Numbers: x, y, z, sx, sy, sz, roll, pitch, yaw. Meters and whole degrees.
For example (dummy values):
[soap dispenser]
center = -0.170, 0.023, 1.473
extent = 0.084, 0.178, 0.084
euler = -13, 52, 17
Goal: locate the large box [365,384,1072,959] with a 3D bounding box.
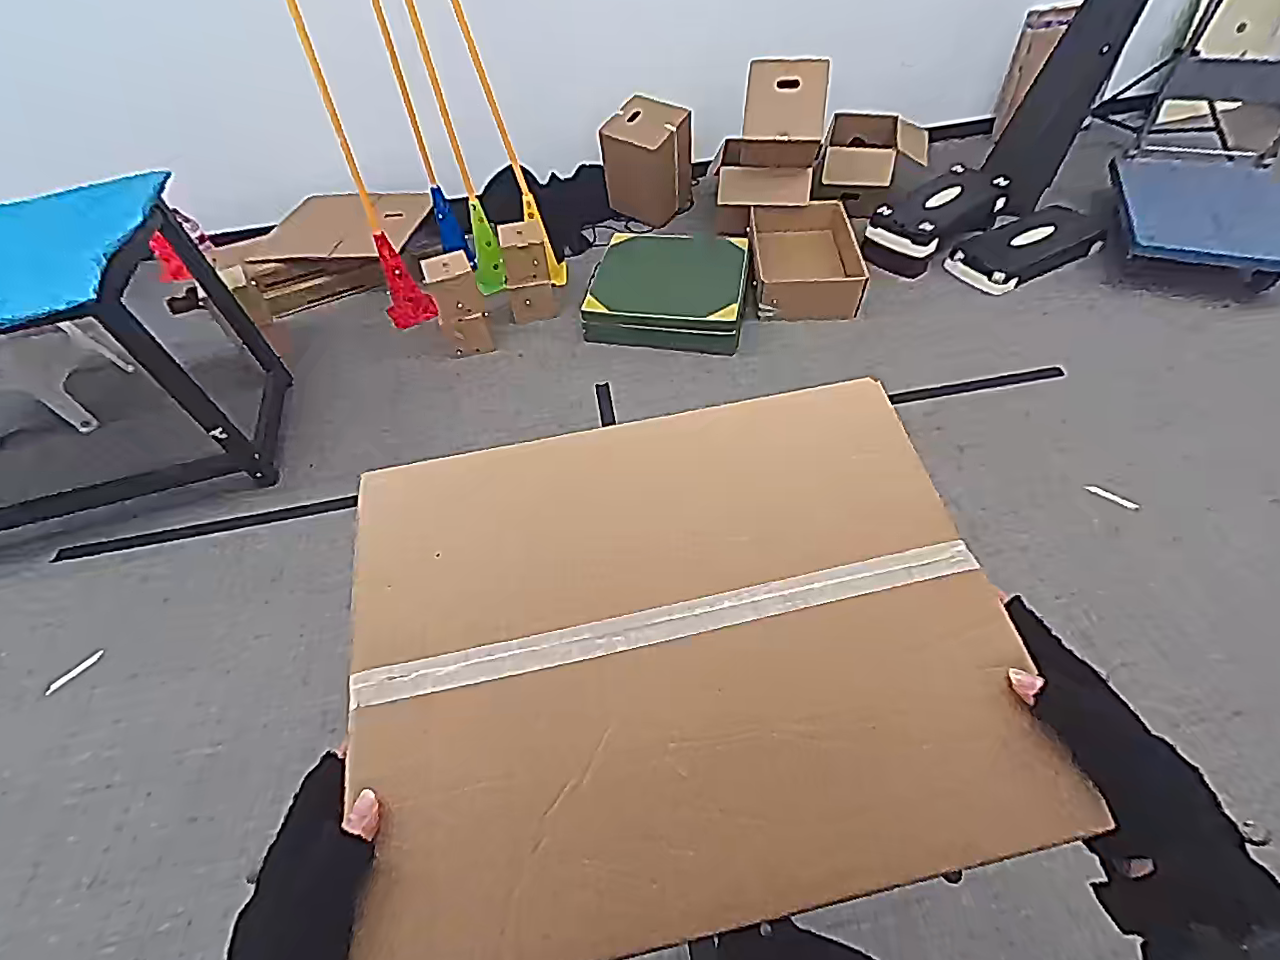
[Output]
[large box]
center = 0.028, 0.162, 0.488
extent = 0.408, 0.320, 0.320
euler = -12, 62, -4
